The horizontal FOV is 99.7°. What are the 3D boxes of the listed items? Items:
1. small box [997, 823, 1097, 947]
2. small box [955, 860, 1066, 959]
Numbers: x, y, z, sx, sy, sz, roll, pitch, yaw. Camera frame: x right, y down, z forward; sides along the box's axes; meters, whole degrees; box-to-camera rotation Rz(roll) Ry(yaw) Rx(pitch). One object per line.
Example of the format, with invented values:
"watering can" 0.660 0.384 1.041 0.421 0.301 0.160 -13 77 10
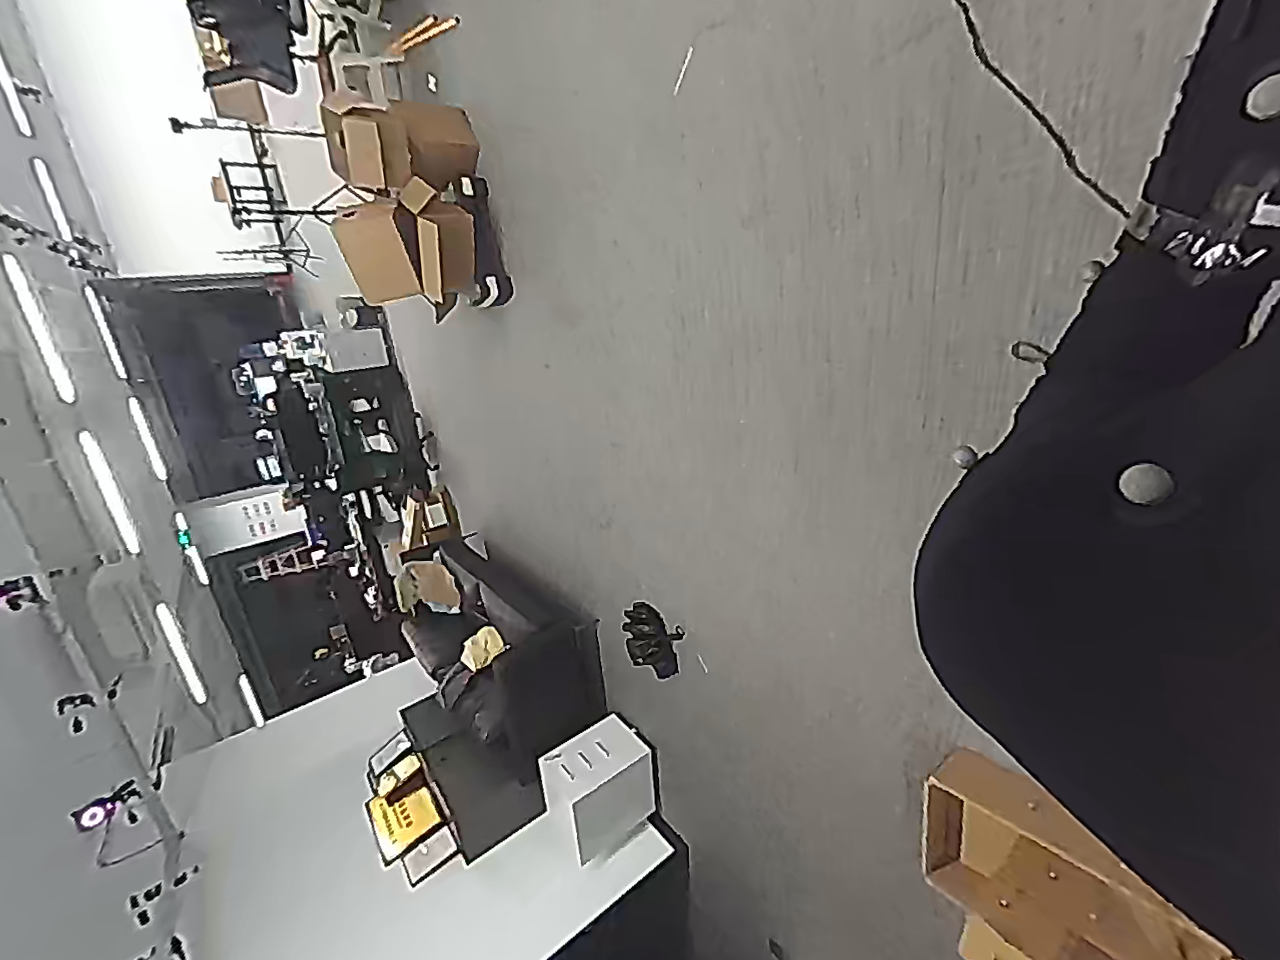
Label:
"small box" 1.068 1.058 1.437 0.179 0.176 0.168 21 123 46
"small box" 0.923 1.109 1.347 0.168 0.176 0.179 26 128 48
